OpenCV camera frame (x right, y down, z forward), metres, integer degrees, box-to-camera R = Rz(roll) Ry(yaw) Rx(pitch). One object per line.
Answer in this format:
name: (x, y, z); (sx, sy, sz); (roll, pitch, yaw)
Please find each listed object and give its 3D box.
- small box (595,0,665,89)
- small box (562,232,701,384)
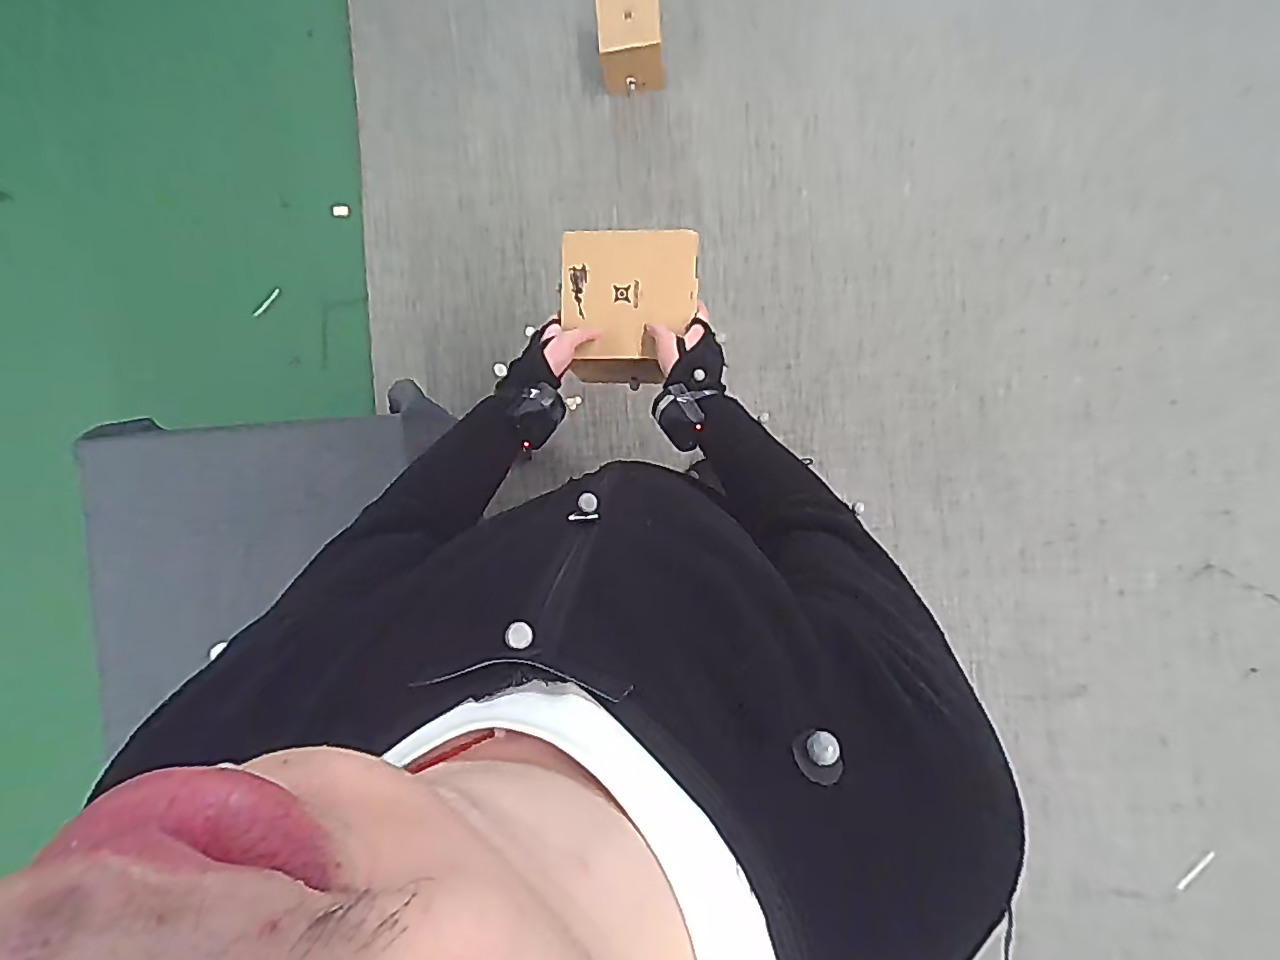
small box: (-0.023, -1.204, 1.456); (0.168, 0.176, 0.179); (-1, 92, 8)
small box: (-0.009, -0.234, 0.770); (0.179, 0.176, 0.168); (2, 90, 2)
